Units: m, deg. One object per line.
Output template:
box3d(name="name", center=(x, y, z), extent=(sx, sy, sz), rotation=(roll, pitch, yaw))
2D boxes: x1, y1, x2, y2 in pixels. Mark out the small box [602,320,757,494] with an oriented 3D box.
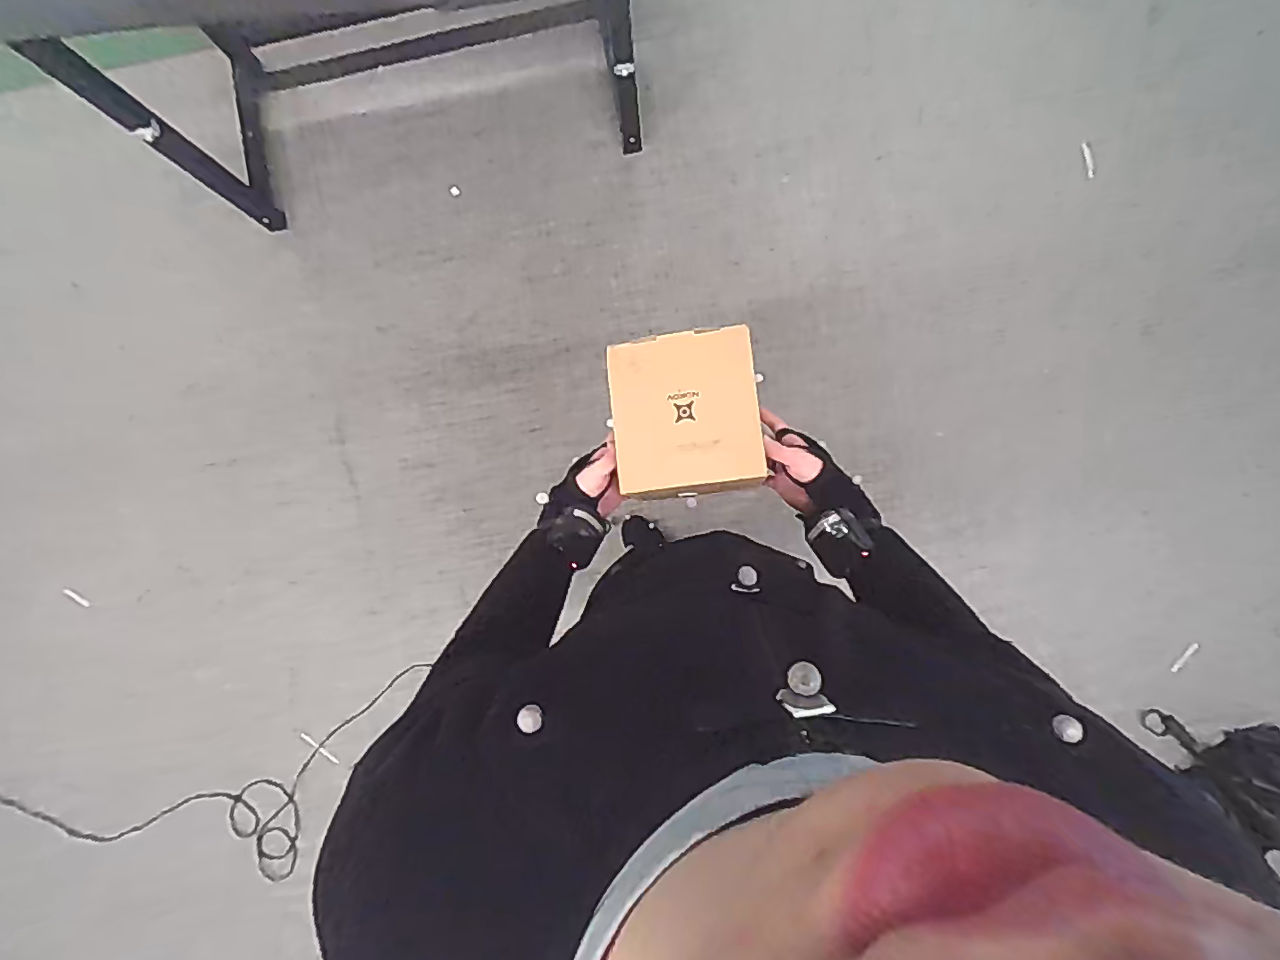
box3d(name="small box", center=(0.052, -0.081, 0.686), extent=(0.168, 0.176, 0.179), rotation=(-6, 84, 8))
